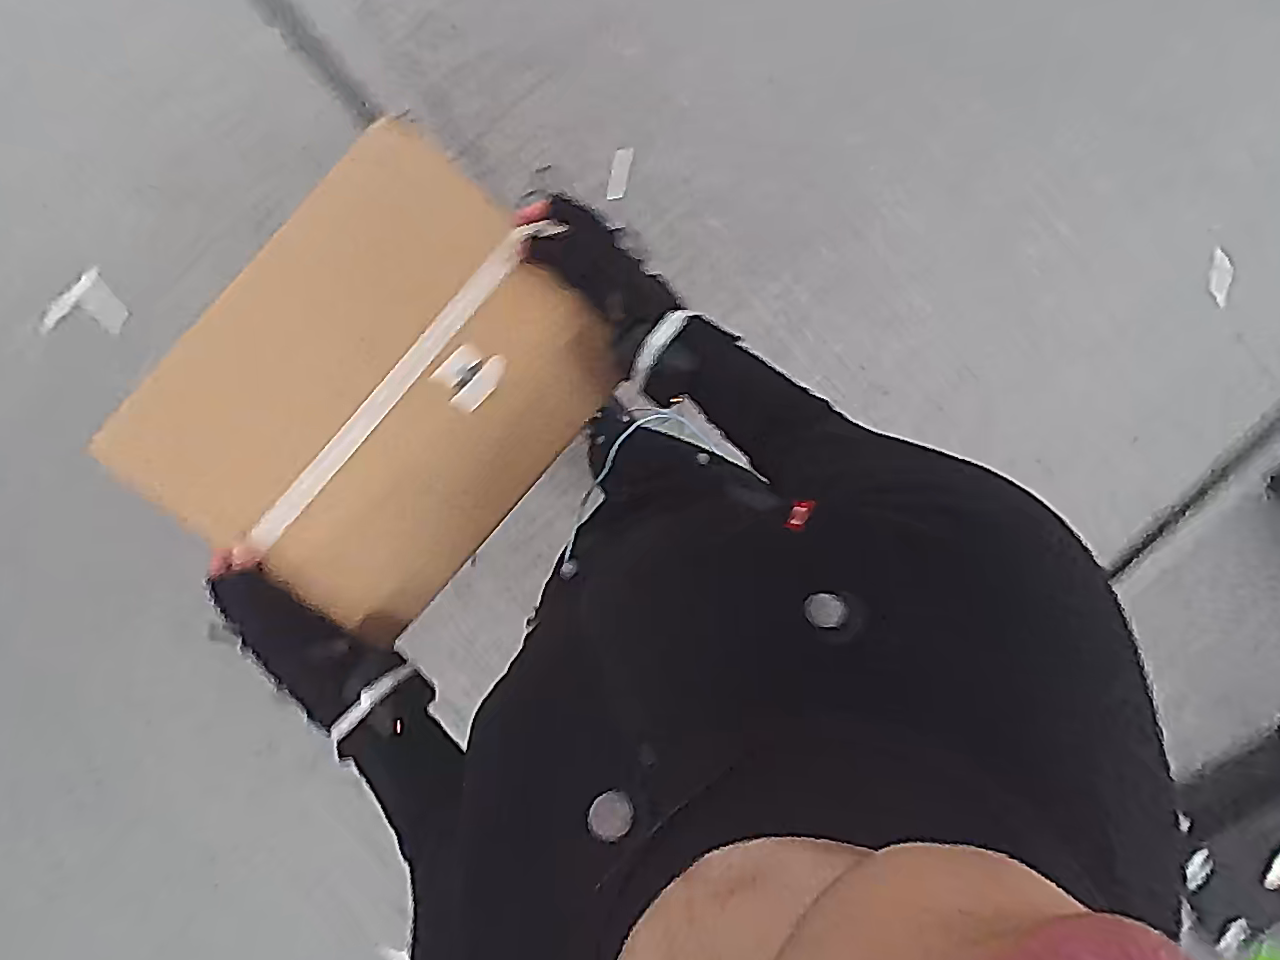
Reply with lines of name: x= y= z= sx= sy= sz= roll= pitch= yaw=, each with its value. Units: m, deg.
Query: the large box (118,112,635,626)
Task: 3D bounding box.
large box: x=-0.265 y=-0.111 z=0.670 sx=0.320 sy=0.320 sz=0.408 roll=41 pitch=89 yaw=-12
